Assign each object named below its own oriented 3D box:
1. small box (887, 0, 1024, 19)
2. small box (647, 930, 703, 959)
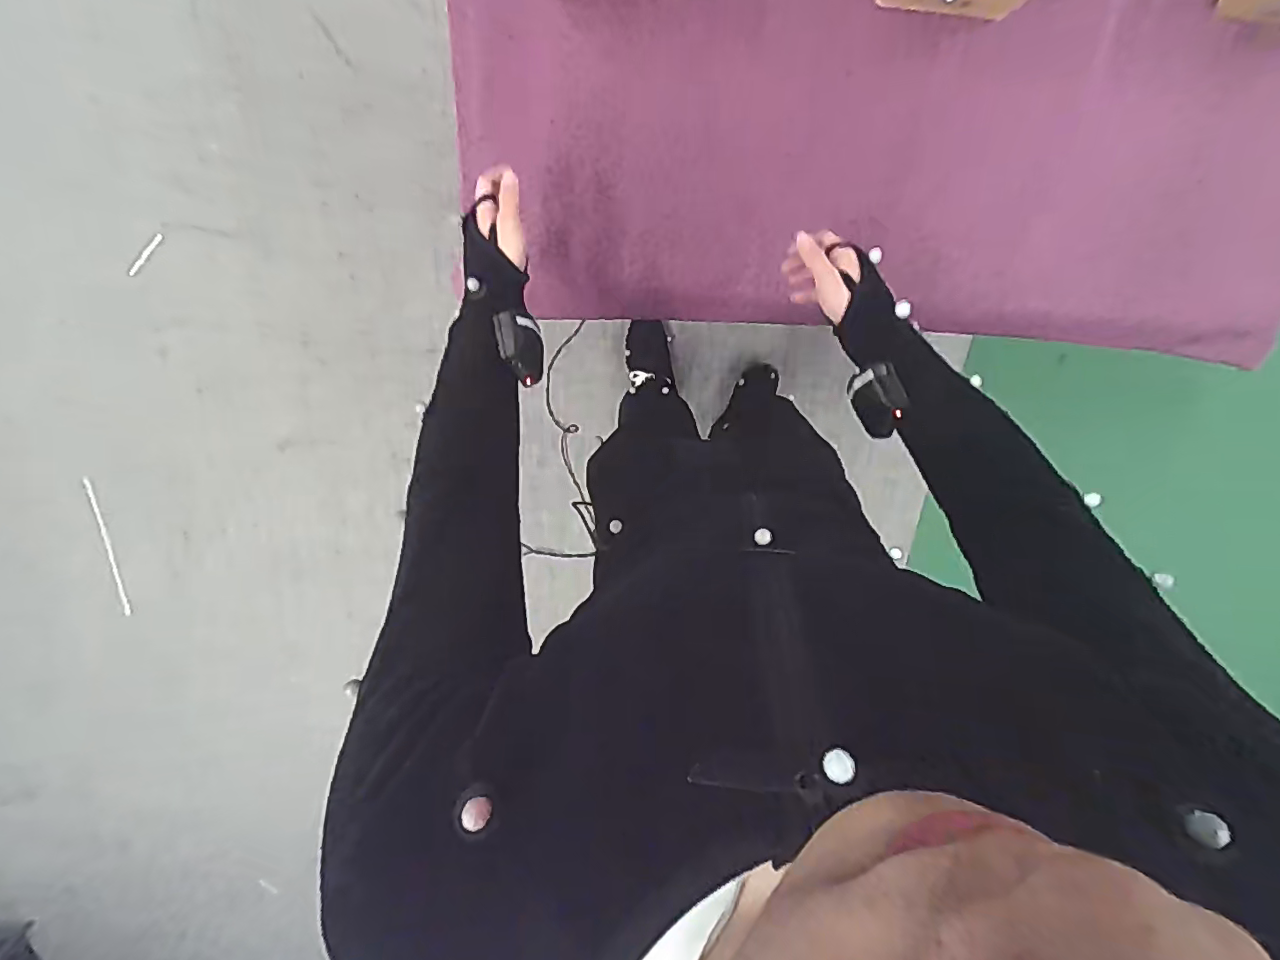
[{"bbox_3d":[0.376,-0.626,0.557,0.168,0.176,0.179,3,112,-4],"label":"small box"},{"bbox_3d":[0.113,1.607,1.756,0.168,0.176,0.179,5,111,-4],"label":"small box"}]
